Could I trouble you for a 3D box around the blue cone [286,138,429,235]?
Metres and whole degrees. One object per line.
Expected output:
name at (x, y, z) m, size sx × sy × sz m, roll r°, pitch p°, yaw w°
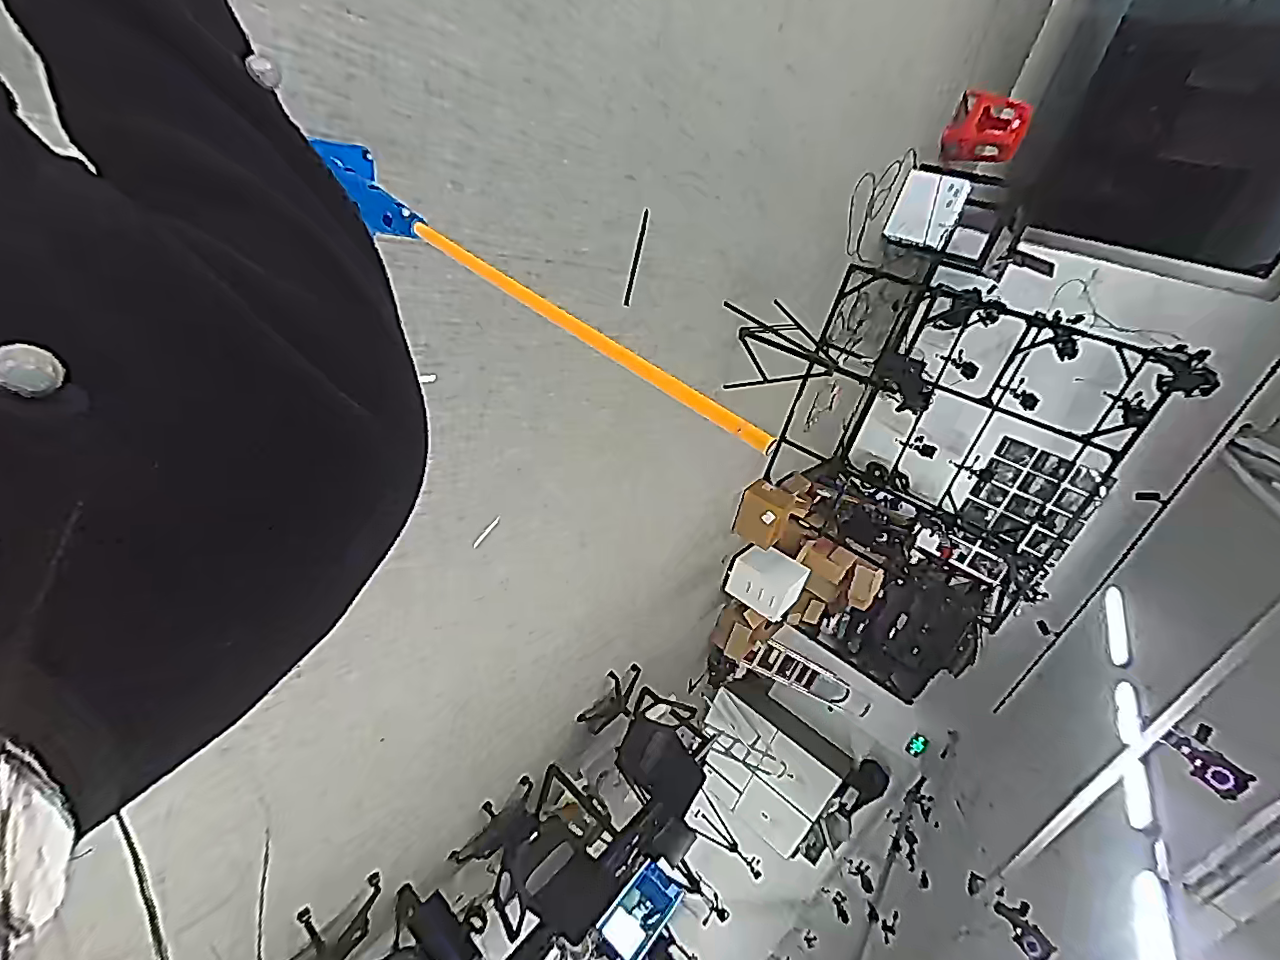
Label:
blue cone at (-0.575, -0.594, 1.163) m, size 0.193 × 0.380 × 0.192 m, roll -24°, pitch 135°, yaw -48°
